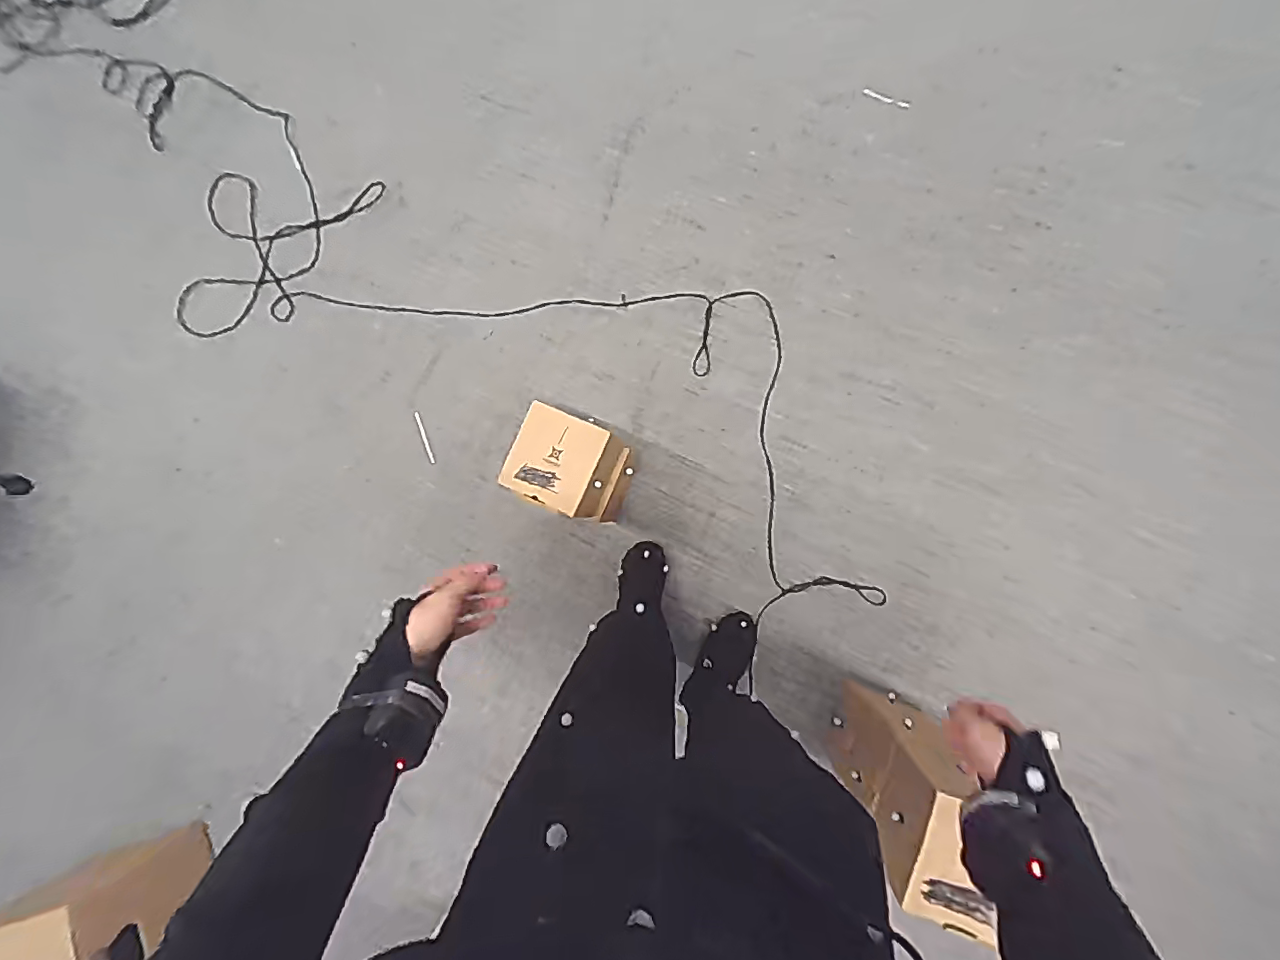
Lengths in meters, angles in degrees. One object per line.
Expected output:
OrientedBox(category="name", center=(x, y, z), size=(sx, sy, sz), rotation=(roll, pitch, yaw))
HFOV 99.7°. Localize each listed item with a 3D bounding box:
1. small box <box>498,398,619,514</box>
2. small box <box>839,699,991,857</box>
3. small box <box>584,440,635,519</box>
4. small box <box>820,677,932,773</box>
OrientedBox(category="small box", center=(-0.153, -0.041, 1.093), size=(0.168, 0.176, 0.179), rotation=(24, 90, 7))
OrientedBox(category="small box", center=(0.490, 0.531, 0.996), size=(0.179, 0.176, 0.168), rotation=(21, 92, 6))
OrientedBox(category="small box", center=(-0.120, -0.023, 1.253), size=(0.168, 0.176, 0.179), rotation=(23, 91, 8))
OrientedBox(category="small box", center=(0.507, 0.546, 1.157), size=(0.179, 0.176, 0.168), rotation=(24, 92, 7))
